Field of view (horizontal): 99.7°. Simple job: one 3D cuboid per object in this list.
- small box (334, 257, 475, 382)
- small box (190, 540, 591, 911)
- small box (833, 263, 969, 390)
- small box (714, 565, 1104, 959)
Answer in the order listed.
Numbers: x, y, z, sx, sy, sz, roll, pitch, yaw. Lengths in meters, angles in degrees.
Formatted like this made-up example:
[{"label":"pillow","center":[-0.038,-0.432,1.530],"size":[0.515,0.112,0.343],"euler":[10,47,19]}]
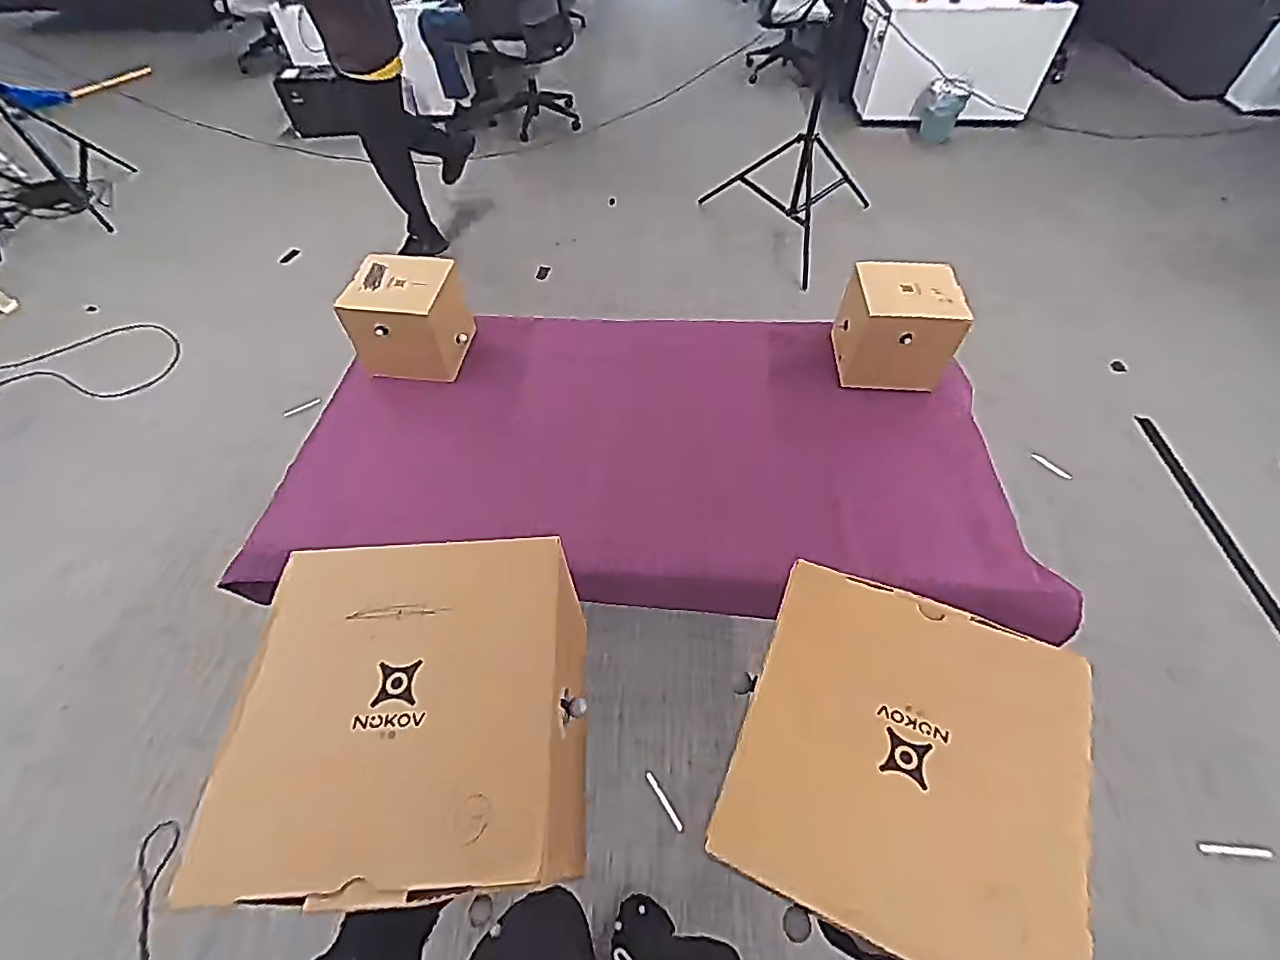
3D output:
[{"label":"small box","center":[-0.445,-0.310,1.057],"size":[0.179,0.176,0.168],"euler":[5,55,3]},{"label":"small box","center":[-0.121,0.158,0.351],"size":[0.168,0.176,0.179],"euler":[-3,54,-1]},{"label":"small box","center":[0.477,-0.288,1.024],"size":[0.179,0.176,0.168],"euler":[4,54,3]},{"label":"small box","center":[0.152,0.188,0.348],"size":[0.168,0.176,0.179],"euler":[15,55,17]}]
